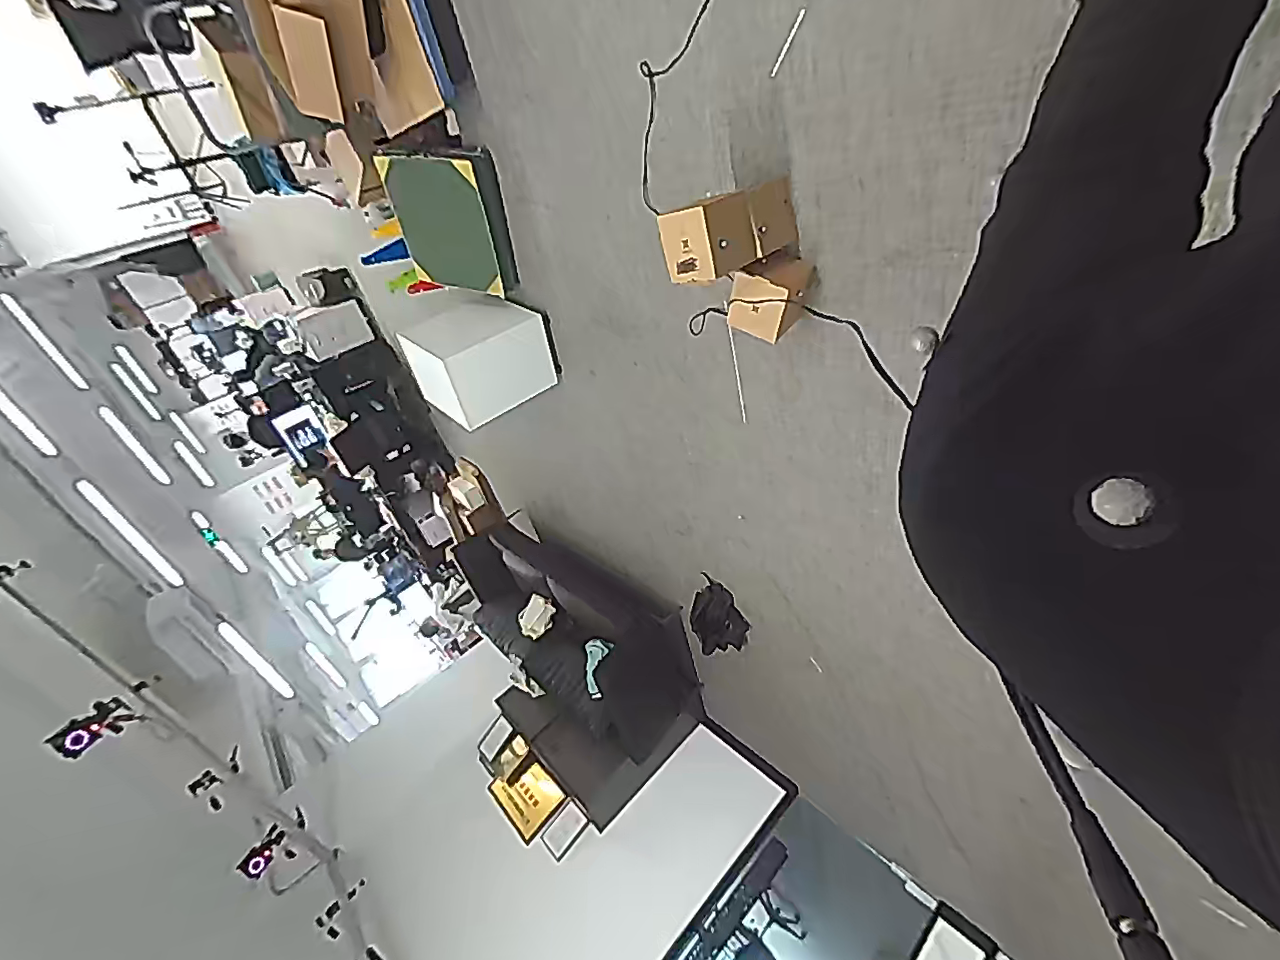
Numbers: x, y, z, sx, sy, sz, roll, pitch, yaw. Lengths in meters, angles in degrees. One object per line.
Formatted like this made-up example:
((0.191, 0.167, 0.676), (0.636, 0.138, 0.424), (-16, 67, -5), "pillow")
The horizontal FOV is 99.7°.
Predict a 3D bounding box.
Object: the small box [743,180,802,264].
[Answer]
((0.316, -0.700, 1.498), (0.179, 0.176, 0.168), (11, 133, 54), "small box")

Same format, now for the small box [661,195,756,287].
((0.187, -0.624, 1.421), (0.168, 0.176, 0.179), (18, 134, 48), "small box")
